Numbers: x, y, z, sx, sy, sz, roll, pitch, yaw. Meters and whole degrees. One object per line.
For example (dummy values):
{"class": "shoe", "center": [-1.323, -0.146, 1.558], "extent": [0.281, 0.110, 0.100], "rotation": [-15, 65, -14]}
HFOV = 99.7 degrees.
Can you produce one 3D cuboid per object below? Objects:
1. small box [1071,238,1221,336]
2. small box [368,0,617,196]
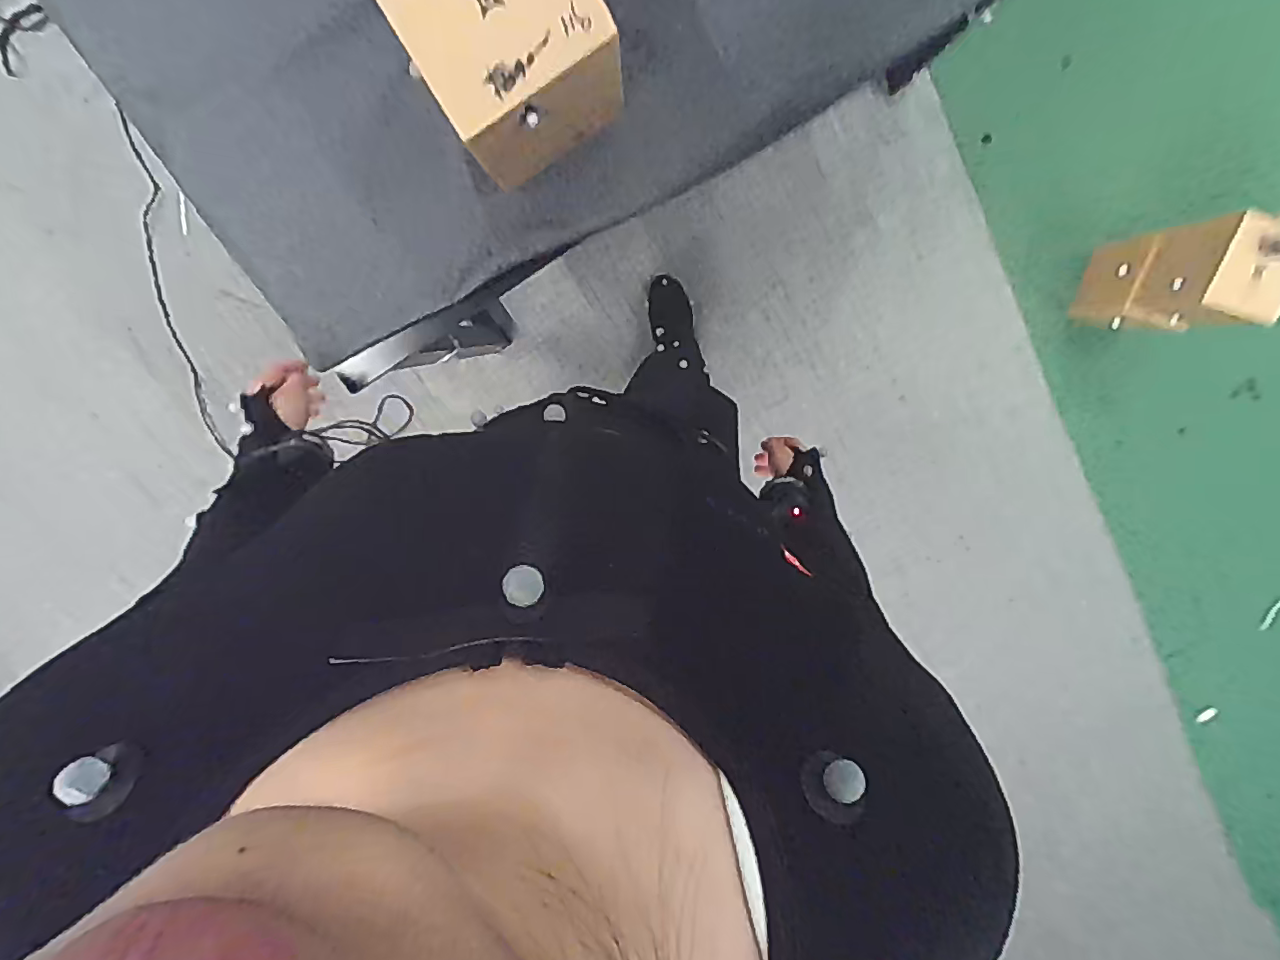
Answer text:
{"class": "small box", "center": [1.190, -0.453, 1.291], "extent": [0.168, 0.176, 0.179], "rotation": [15, 104, -4]}
{"class": "small box", "center": [-0.135, -0.420, 0.531], "extent": [0.168, 0.176, 0.179], "rotation": [-30, 102, 7]}
